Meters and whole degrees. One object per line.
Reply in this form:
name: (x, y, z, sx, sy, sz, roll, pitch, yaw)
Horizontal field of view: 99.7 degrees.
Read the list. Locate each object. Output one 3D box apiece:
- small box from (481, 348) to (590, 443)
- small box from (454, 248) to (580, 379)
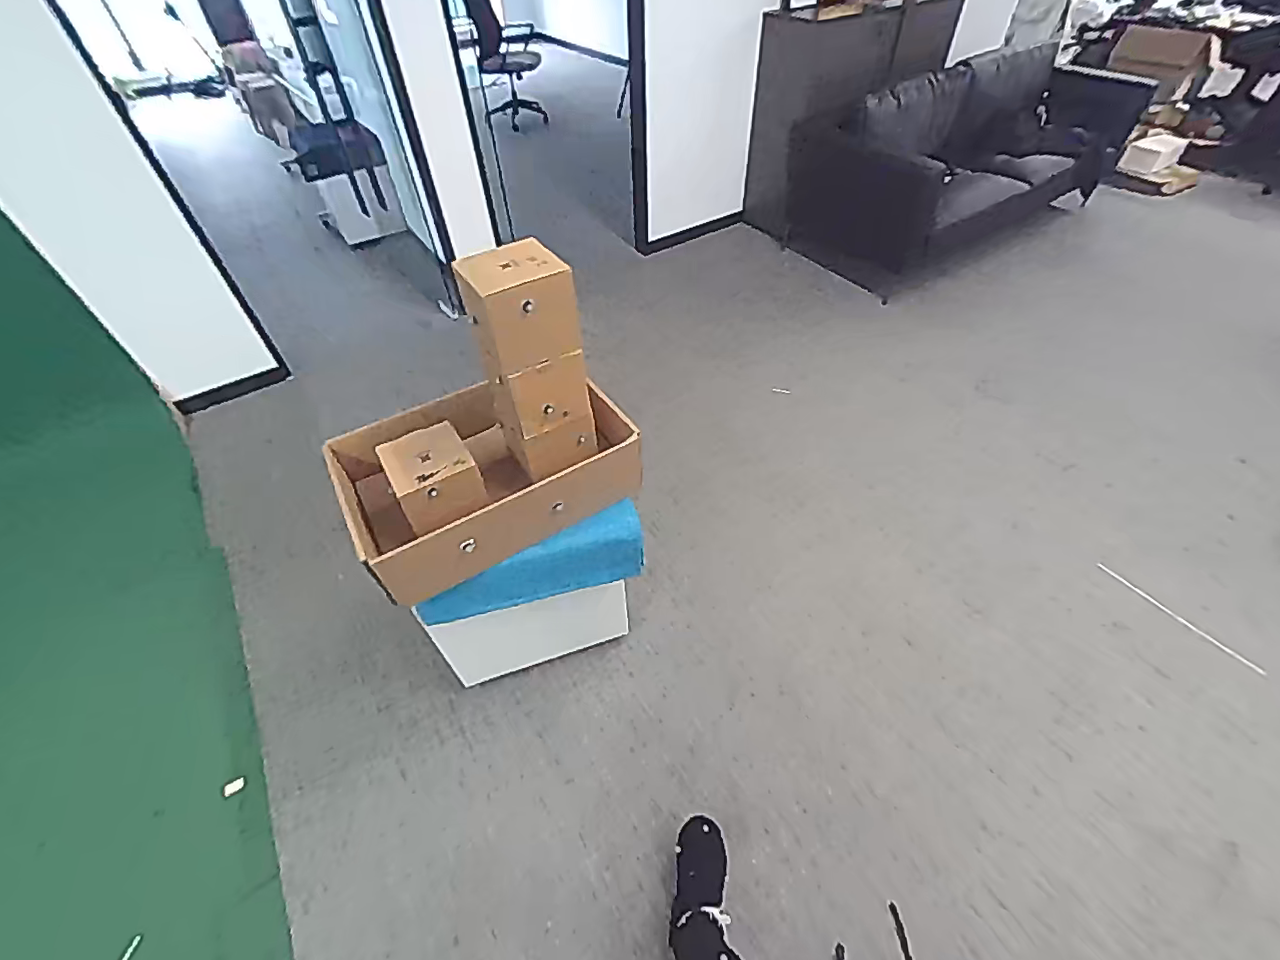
small box: (-0.225, -0.210, 1.179, 0.168, 0.176, 0.179, -26, 50, -20)
small box: (-0.234, -0.324, 1.059, 0.179, 0.176, 0.168, -26, 51, -20)
